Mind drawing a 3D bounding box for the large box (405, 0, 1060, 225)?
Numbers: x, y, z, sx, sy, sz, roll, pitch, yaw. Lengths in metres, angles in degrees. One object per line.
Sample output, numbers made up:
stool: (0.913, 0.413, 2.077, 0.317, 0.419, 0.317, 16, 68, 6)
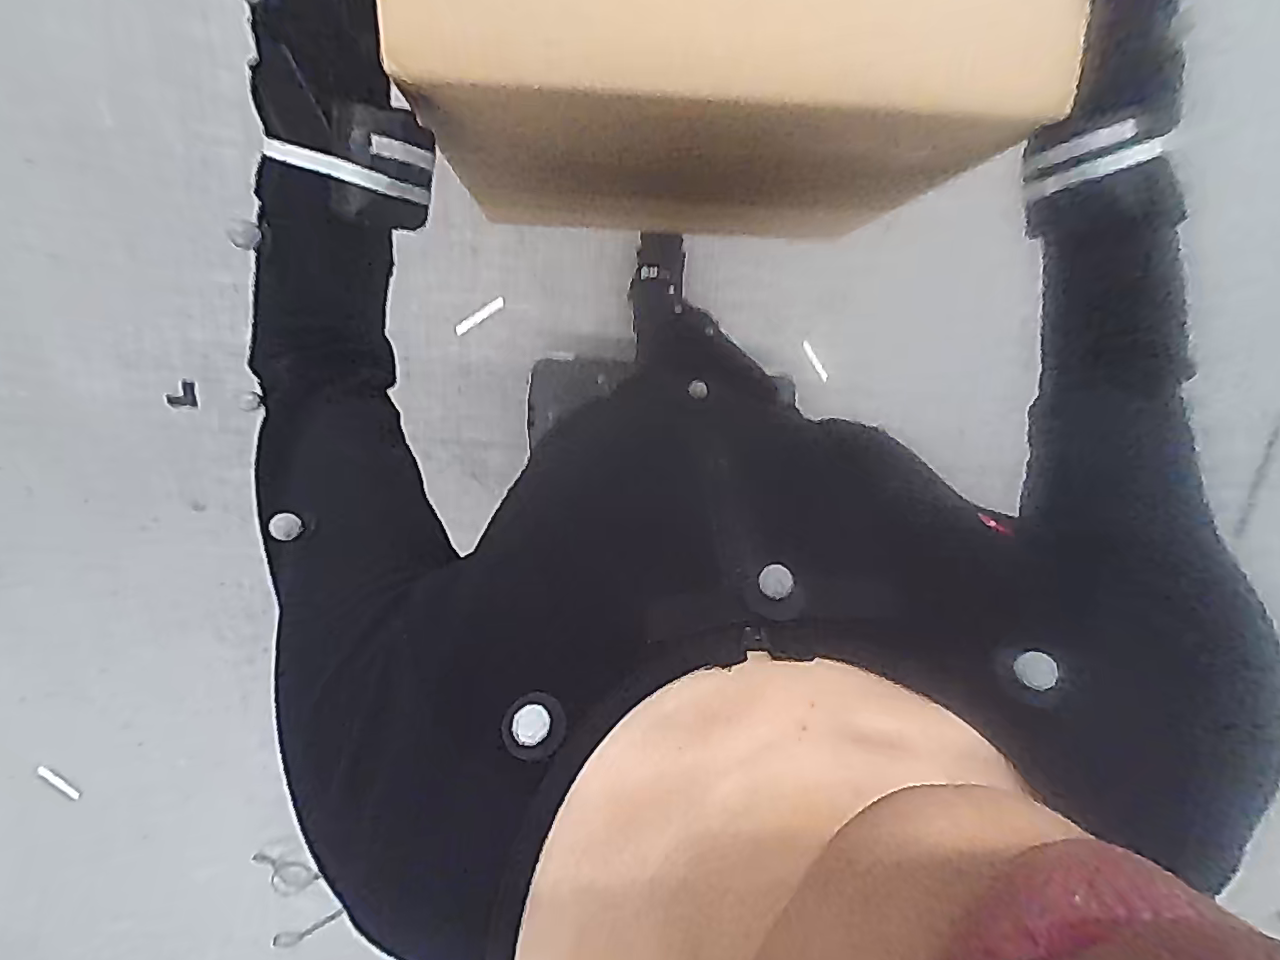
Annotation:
large box: (0.049, -0.418, 0.445, 0.408, 0.320, 0.320, 0, 101, -6)
